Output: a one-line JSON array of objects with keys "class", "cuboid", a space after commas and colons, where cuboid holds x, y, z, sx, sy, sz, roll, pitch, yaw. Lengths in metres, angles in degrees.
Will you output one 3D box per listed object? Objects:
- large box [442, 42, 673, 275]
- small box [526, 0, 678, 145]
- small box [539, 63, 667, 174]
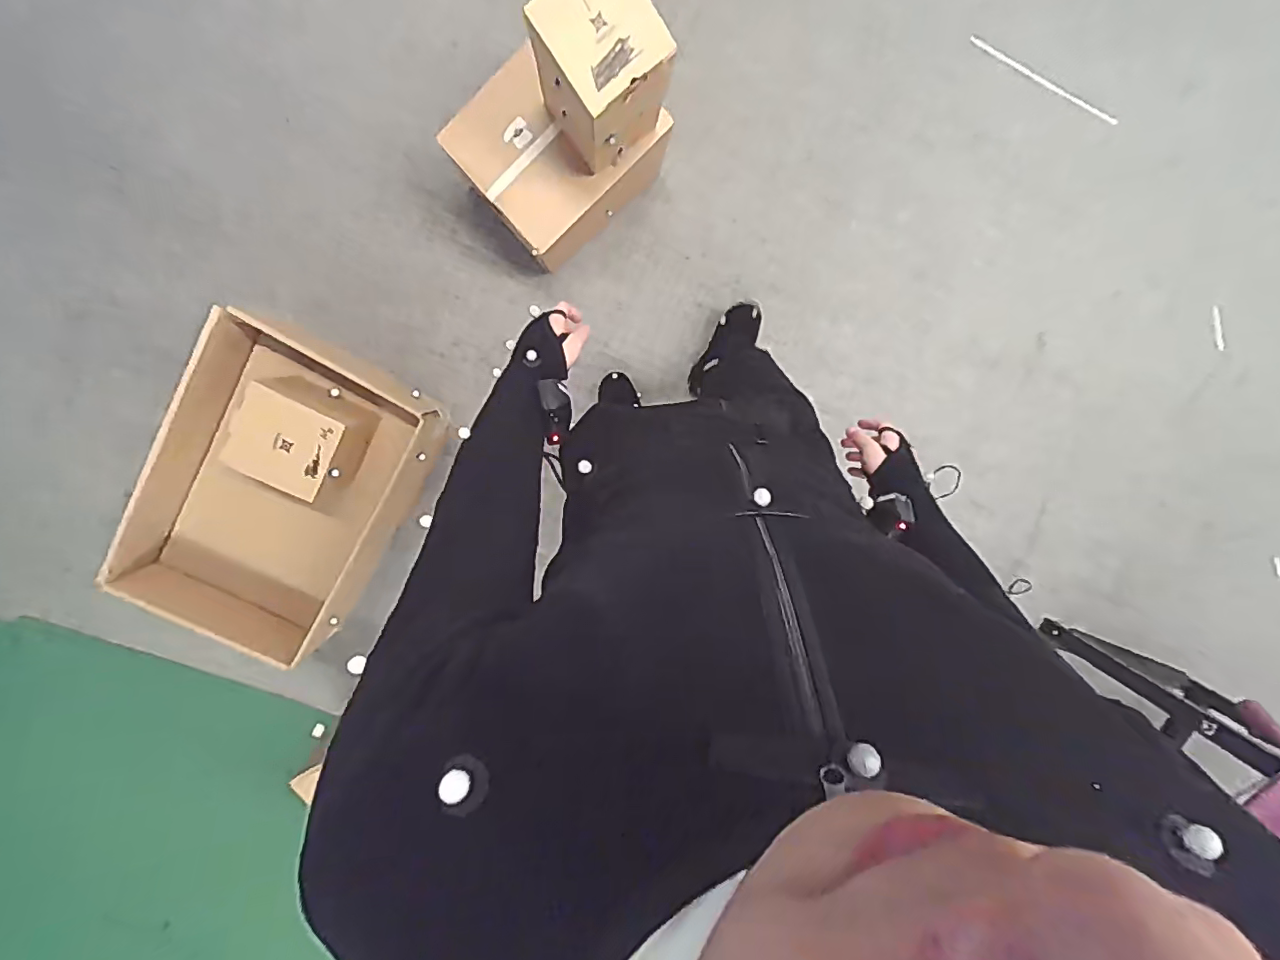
[{"class": "large box", "cuboid": [-0.179, -0.759, 1.280, 0.408, 0.320, 0.320, -42, 102, 7]}, {"class": "small box", "cuboid": [-0.059, -0.688, 0.885, 0.168, 0.176, 0.179, -36, 103, 5]}, {"class": "small box", "cuboid": [-0.071, -0.734, 1.041, 0.168, 0.176, 0.179, -36, 104, 6]}]
